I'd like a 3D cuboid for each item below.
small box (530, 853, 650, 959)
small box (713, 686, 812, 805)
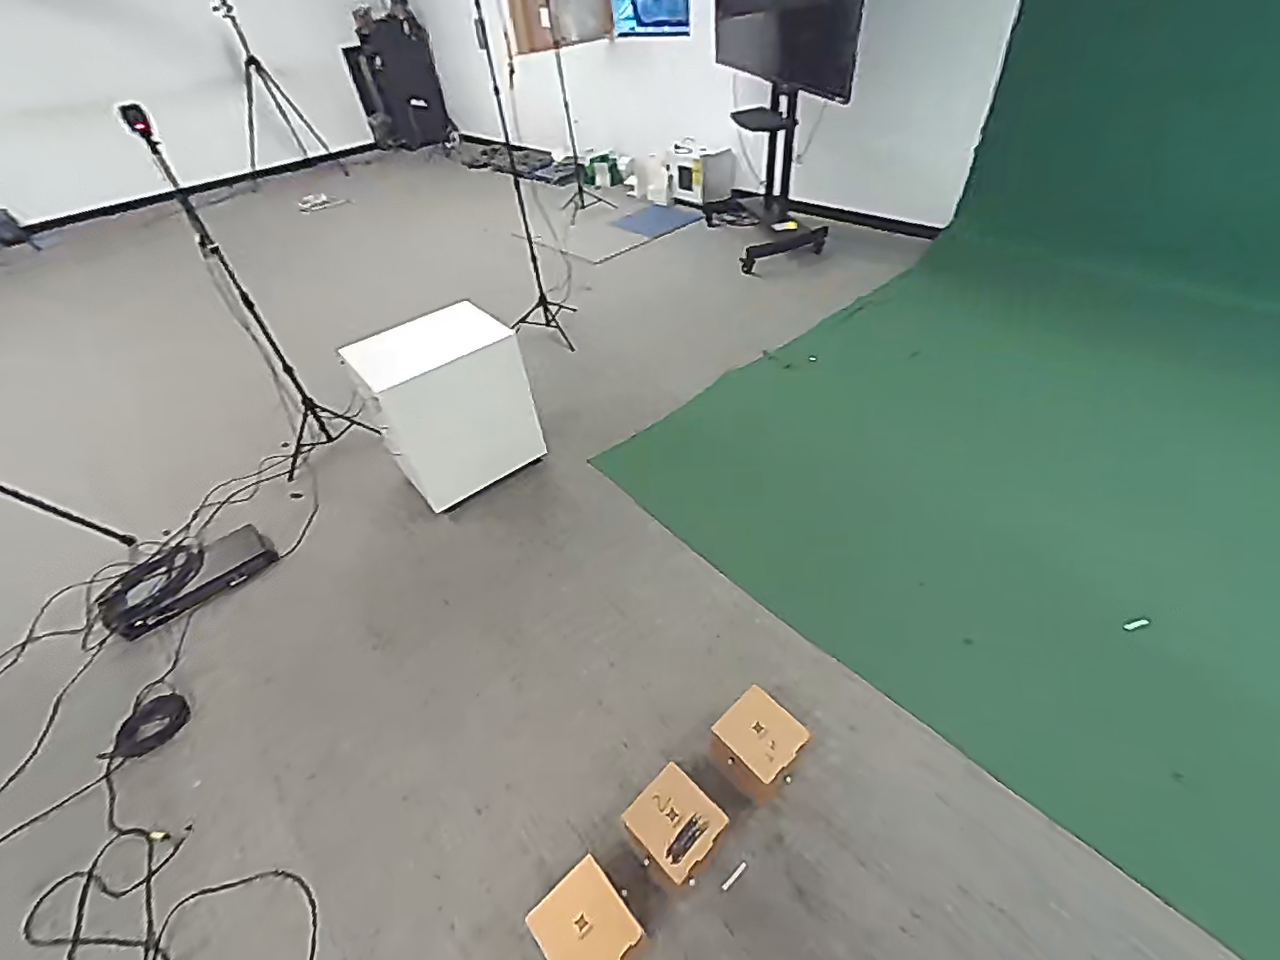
[{"bbox_3d":[-0.098,0.927,1.112,0.168,0.176,0.179,-34,50,-25],"label":"small box"},{"bbox_3d":[0.298,0.663,1.347,0.168,0.176,0.179,-34,50,-26],"label":"small box"}]
